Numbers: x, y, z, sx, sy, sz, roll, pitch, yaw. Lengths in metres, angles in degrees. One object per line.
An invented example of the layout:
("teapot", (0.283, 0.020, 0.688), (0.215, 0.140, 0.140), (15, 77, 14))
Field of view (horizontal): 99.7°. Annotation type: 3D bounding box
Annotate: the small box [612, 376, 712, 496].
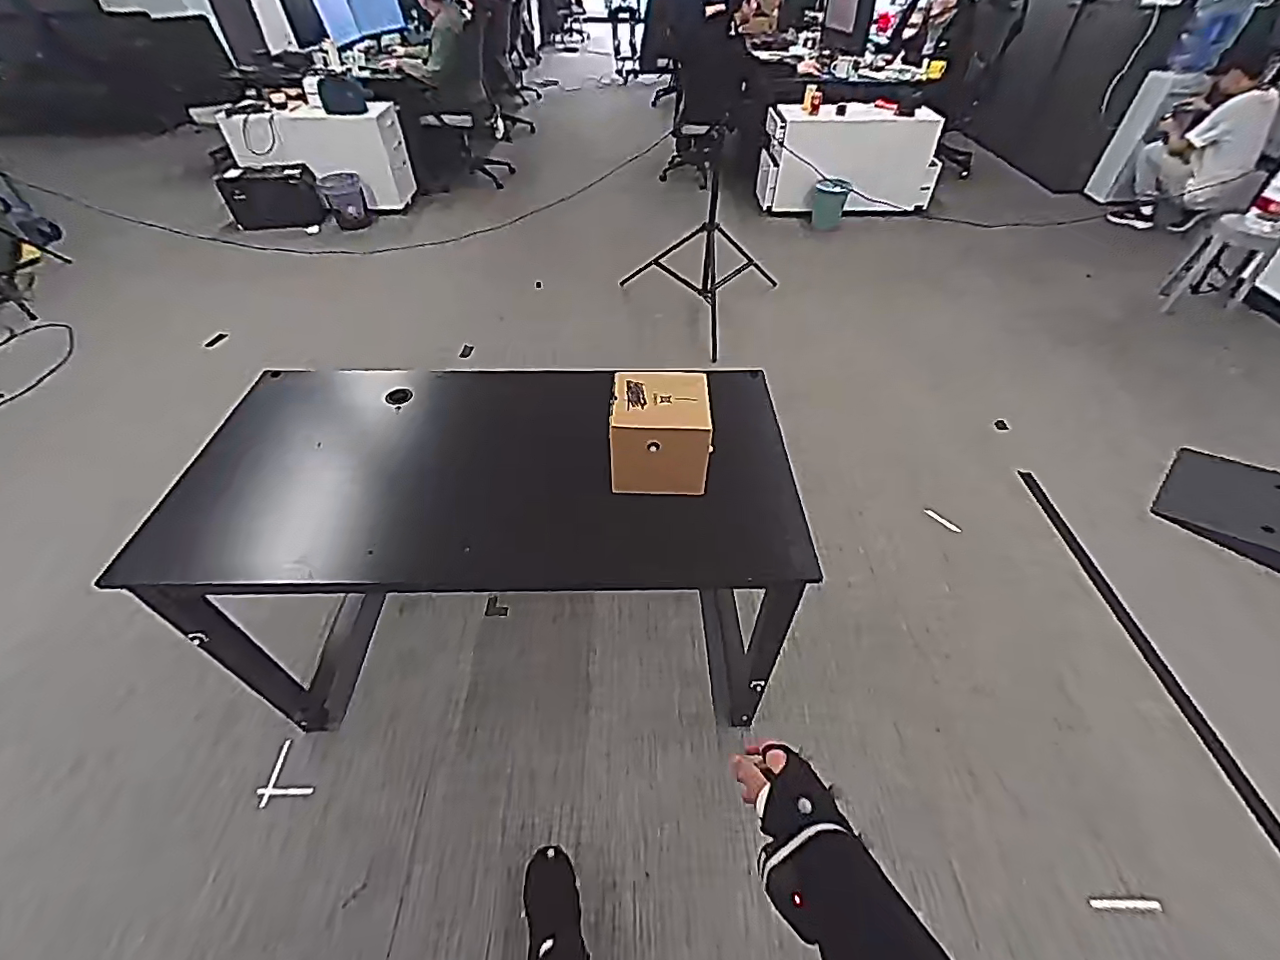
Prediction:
("small box", (0.042, -0.083, 1.043), (0.179, 0.176, 0.168), (1, 46, 1))
